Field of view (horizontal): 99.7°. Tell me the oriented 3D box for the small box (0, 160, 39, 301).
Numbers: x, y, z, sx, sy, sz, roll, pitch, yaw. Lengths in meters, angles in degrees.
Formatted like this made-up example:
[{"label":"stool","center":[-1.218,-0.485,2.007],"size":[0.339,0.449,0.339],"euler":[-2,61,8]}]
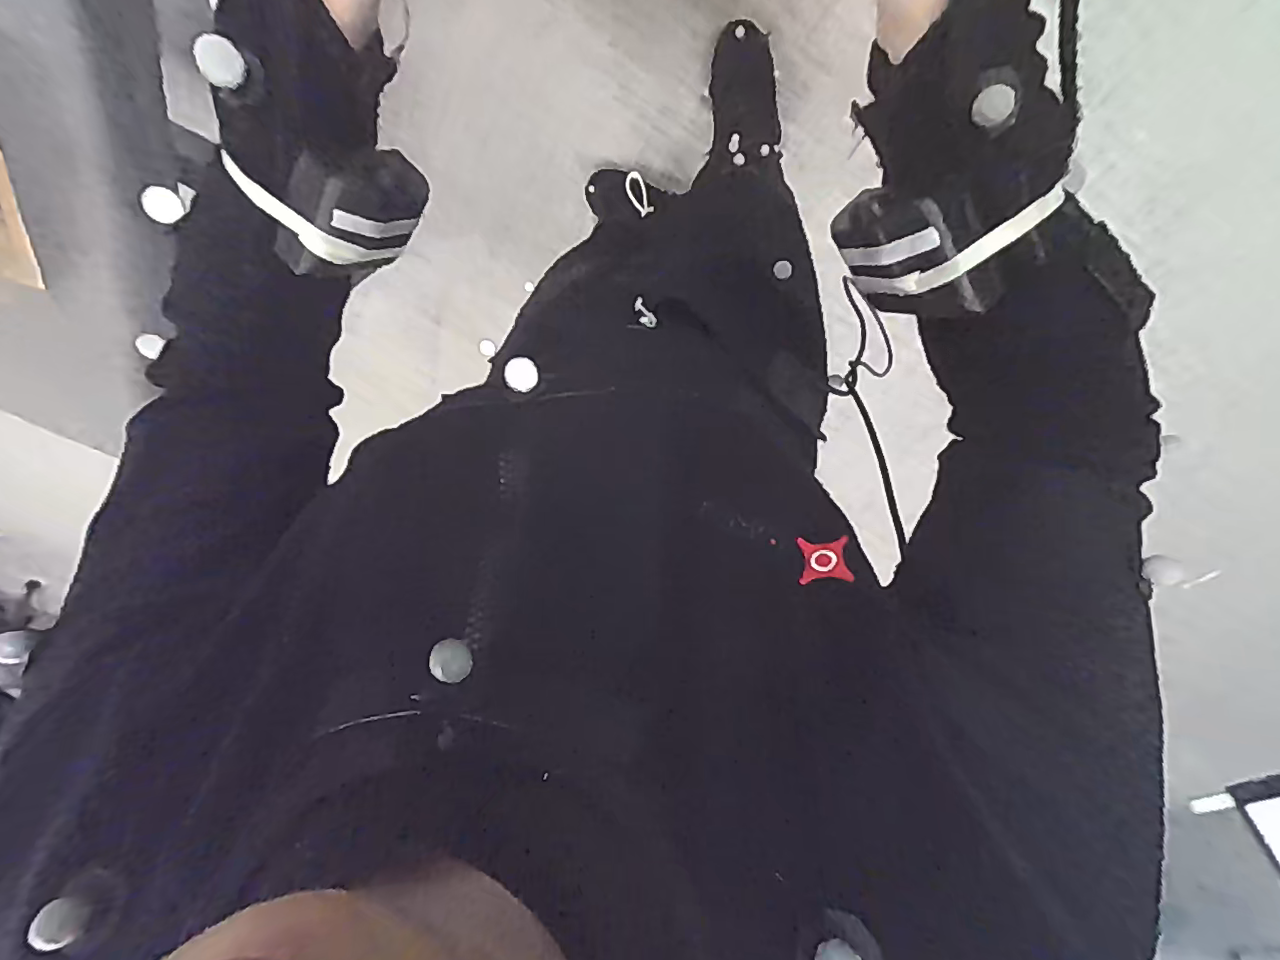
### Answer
[{"label":"small box","center":[-0.716,-0.240,0.473],"size":[0.179,0.176,0.168],"euler":[23,131,-11]}]
